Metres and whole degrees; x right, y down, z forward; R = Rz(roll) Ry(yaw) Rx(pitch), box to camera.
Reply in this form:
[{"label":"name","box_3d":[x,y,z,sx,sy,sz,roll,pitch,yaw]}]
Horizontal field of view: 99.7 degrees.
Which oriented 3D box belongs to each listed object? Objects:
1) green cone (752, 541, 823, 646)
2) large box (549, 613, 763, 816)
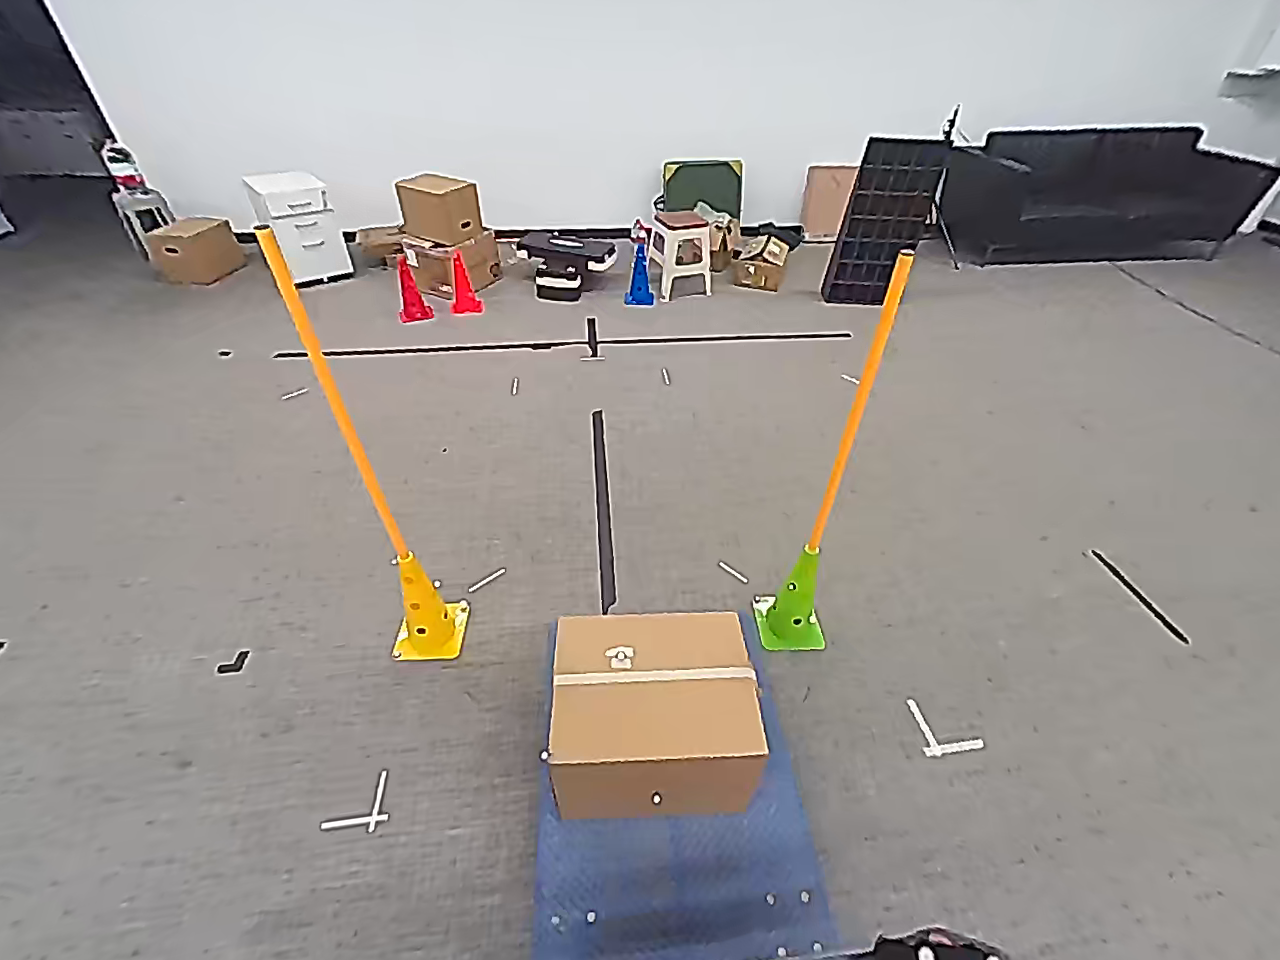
[{"label":"green cone","box_3d":[0.486,0.327,1.657,0.202,0.368,0.200,0,41,-3]},{"label":"large box","box_3d":[0.025,0.520,1.202,0.408,0.320,0.320,-2,41,-2]}]
